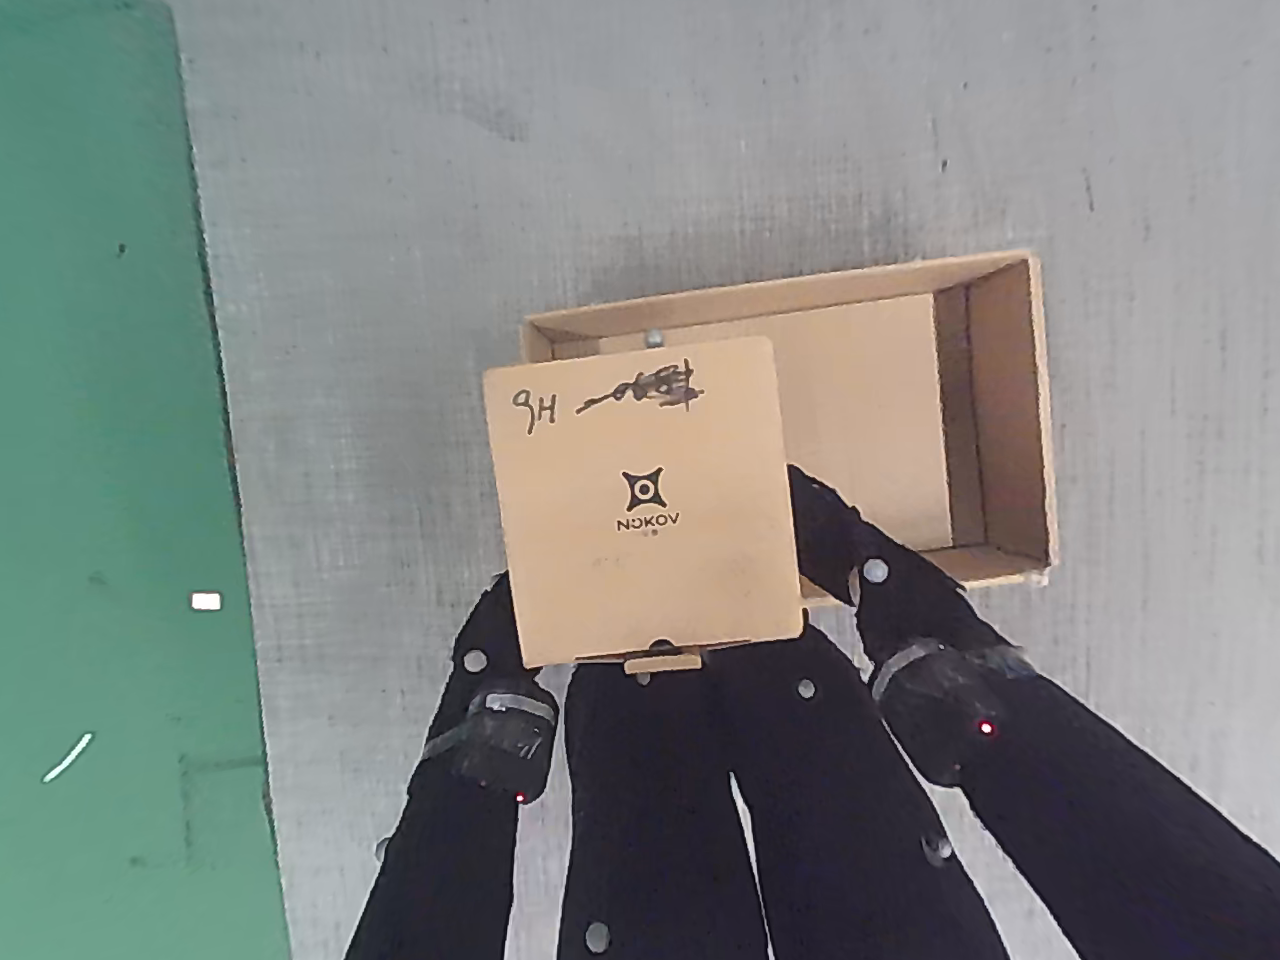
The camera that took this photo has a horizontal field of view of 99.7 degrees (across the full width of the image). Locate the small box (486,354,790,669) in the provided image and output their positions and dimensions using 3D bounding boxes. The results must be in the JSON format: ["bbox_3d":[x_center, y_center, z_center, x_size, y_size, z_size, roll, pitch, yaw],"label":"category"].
[{"bbox_3d":[0.004,0.015,0.398,0.168,0.176,0.179,-7,94,3],"label":"small box"}]
